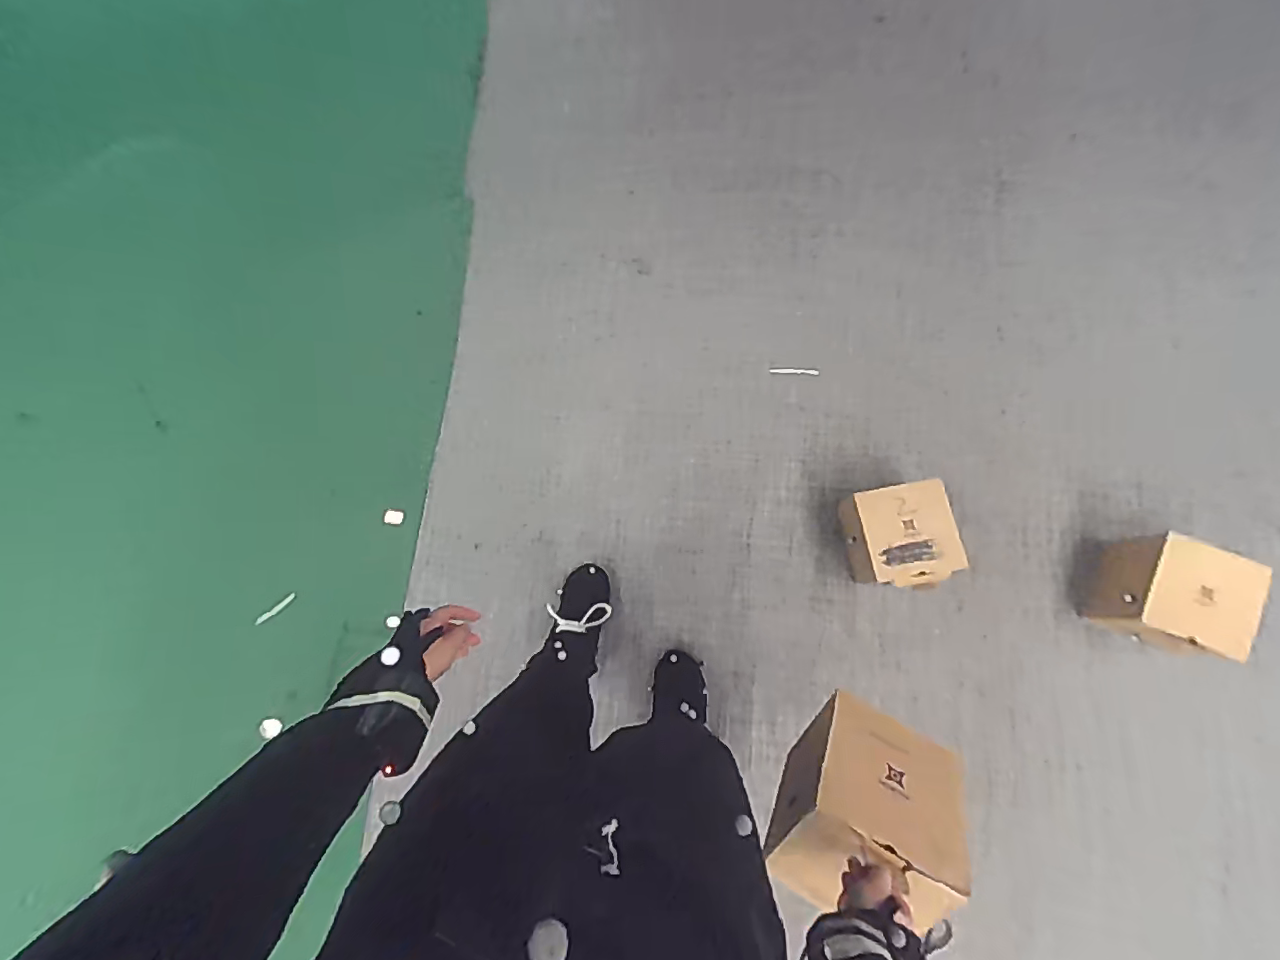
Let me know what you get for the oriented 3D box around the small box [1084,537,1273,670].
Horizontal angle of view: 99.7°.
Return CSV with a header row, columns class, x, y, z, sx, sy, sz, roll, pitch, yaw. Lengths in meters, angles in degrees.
class,x,y,z,sx,sy,sz,roll,pitch,yaw
small box,0.978,0.223,1.000,0.168,0.176,0.179,23,83,12
